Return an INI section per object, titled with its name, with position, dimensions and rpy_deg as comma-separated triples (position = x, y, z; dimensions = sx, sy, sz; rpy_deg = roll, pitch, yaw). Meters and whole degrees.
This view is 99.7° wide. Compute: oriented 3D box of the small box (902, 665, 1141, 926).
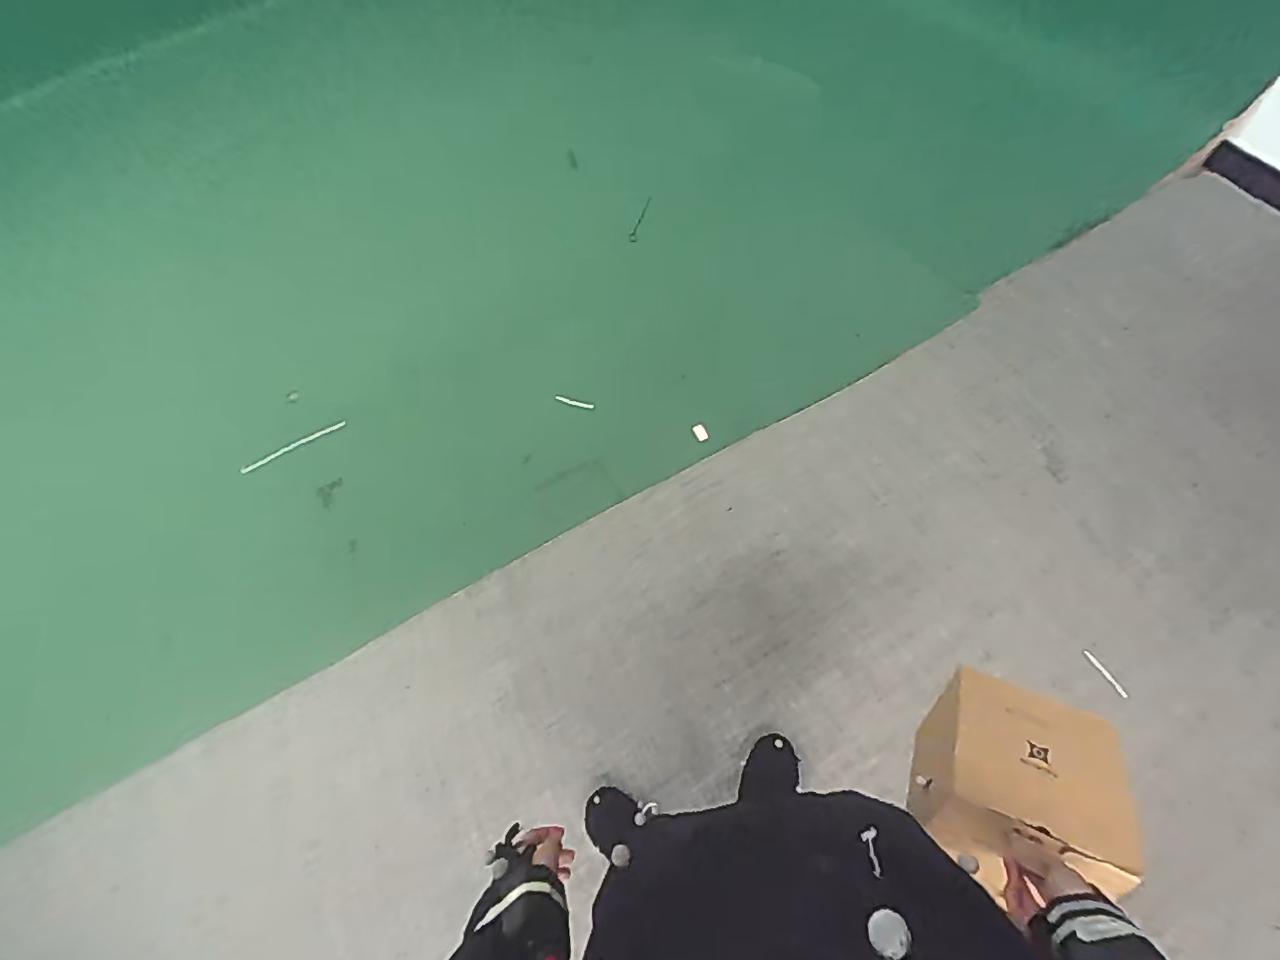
[small box]
position = 0.421, 0.361, 0.627
dimensions = 0.168, 0.176, 0.179
rpy_deg = 20, 39, 20
